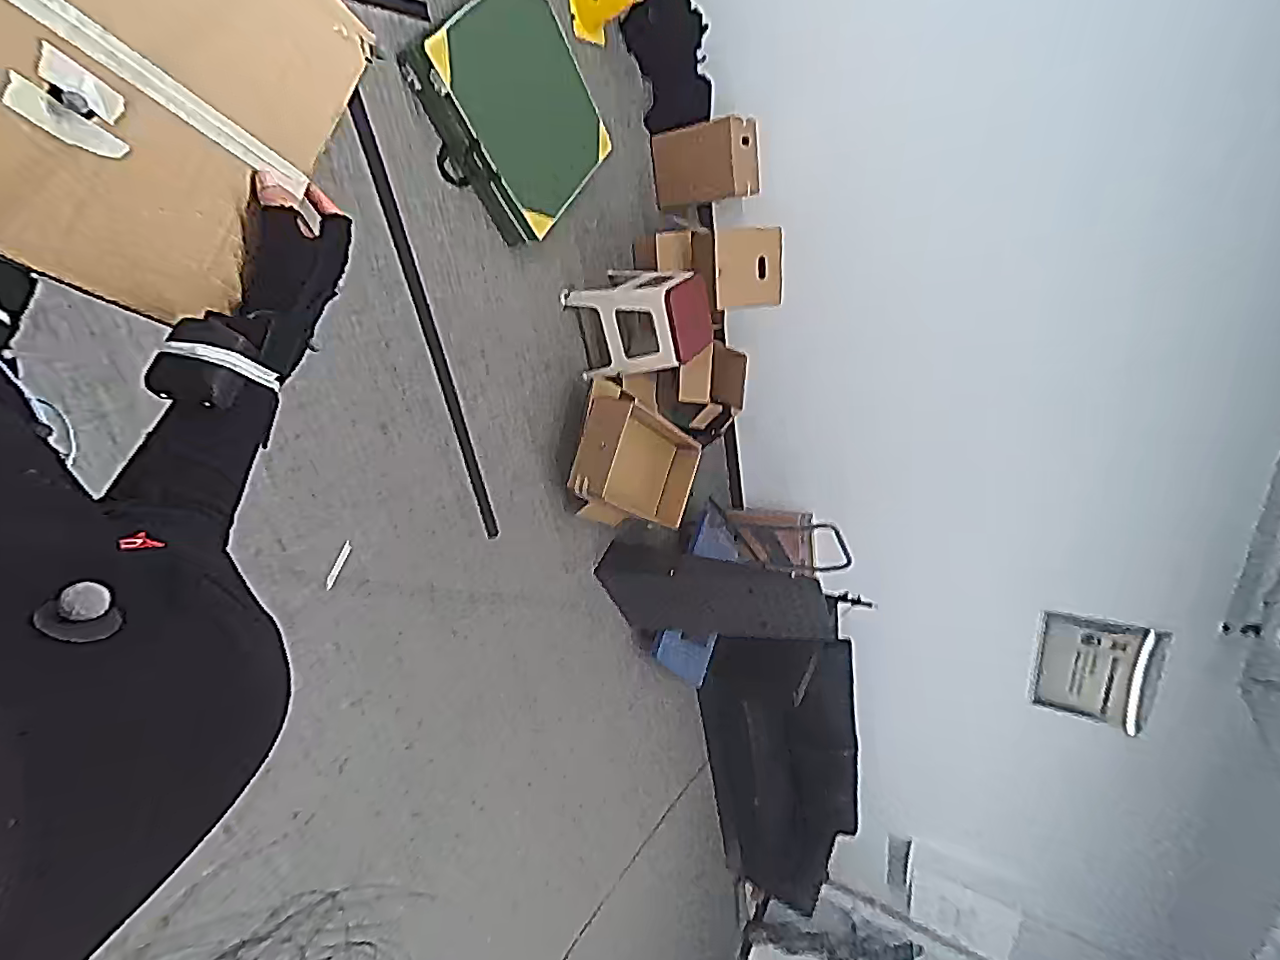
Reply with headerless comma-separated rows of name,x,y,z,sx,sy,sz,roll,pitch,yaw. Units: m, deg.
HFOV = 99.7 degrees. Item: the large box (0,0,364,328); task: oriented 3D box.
large box,-0.524,-0.365,0.405,0.408,0.320,0.320,28,84,-57
